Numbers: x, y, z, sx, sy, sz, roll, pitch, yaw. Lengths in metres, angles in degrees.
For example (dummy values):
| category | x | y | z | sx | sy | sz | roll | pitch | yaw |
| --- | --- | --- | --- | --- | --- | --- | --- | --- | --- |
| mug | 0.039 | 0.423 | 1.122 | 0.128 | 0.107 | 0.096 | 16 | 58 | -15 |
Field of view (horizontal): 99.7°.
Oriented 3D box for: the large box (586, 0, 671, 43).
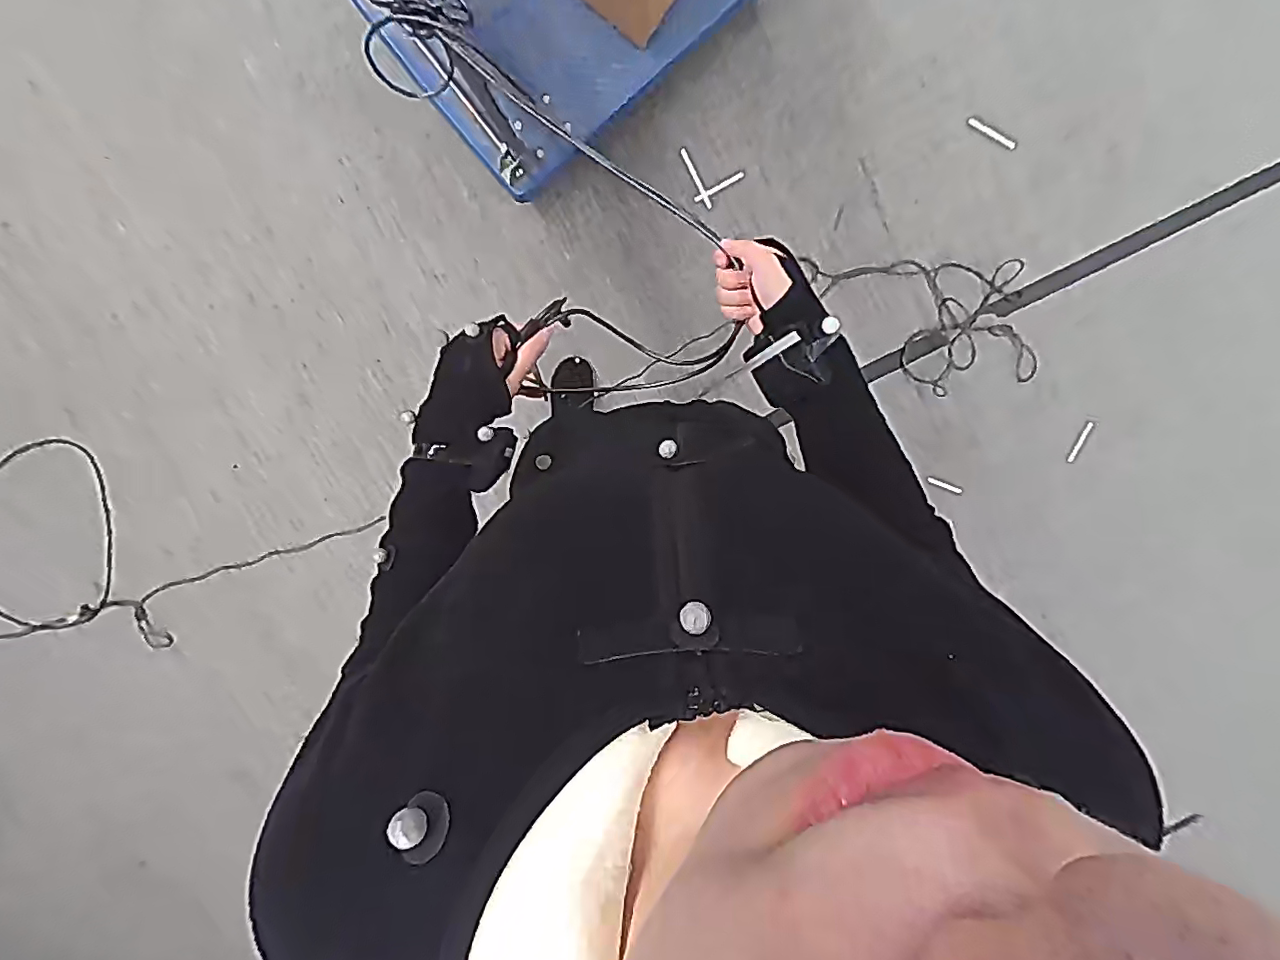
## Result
| category | x | y | z | sx | sy | sz | roll | pitch | yaw |
| --- | --- | --- | --- | --- | --- | --- | --- | --- | --- |
| large box | -0.064 | -1.108 | 0.937 | 0.408 | 0.320 | 0.320 | 35 | 99 | -9 |
